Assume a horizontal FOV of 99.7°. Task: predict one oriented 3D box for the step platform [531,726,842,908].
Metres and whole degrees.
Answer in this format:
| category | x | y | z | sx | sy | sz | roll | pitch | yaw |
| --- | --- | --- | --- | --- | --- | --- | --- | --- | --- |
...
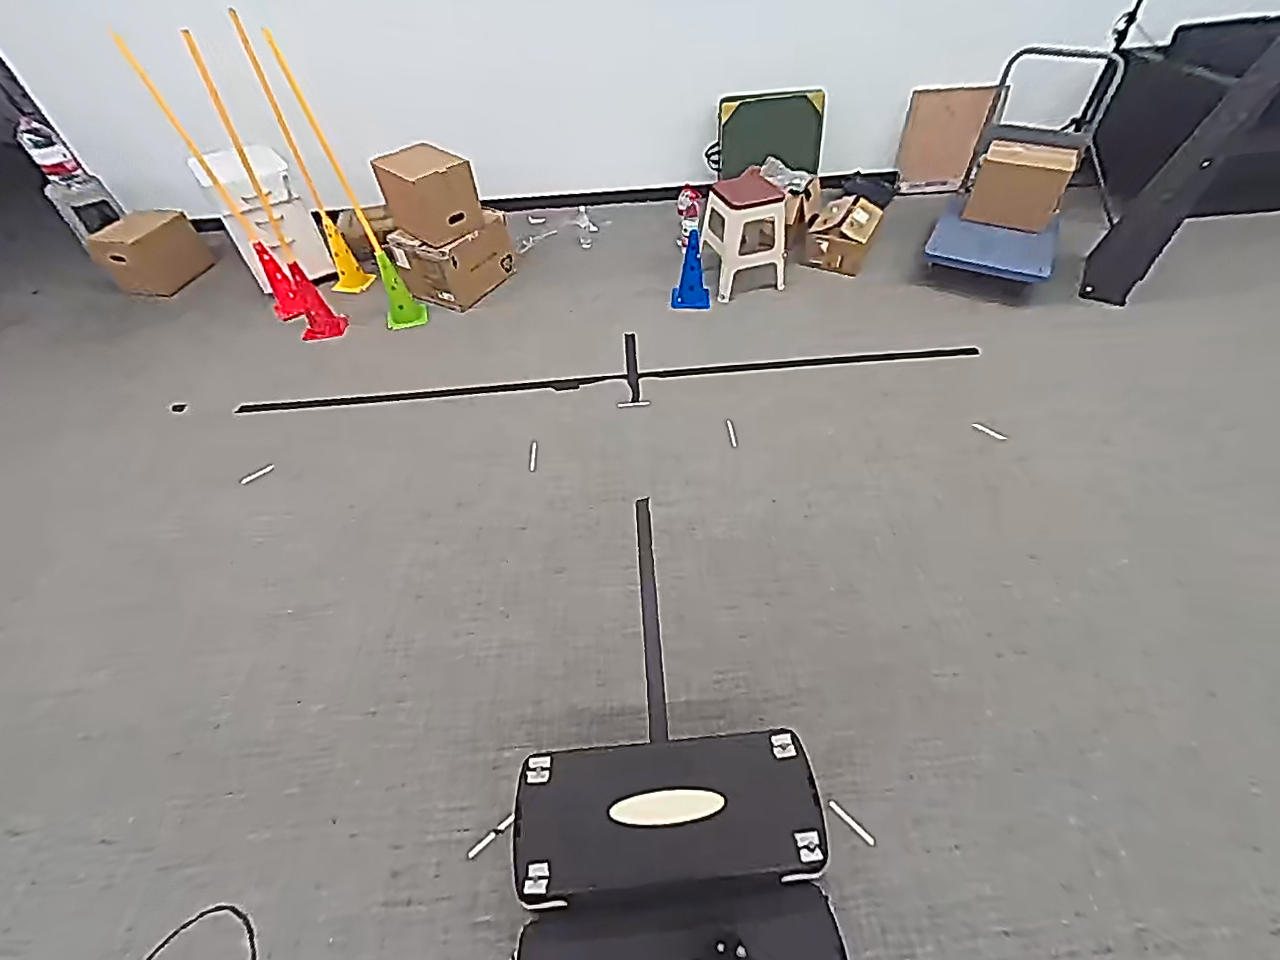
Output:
| category | x | y | z | sx | sy | sz | roll | pitch | yaw |
| --- | --- | --- | --- | --- | --- | --- | --- | --- | --- |
| step platform | 0.097 | 0.765 | 1.245 | 0.684 | 0.204 | 0.286 | -5 | 49 | -3 |
